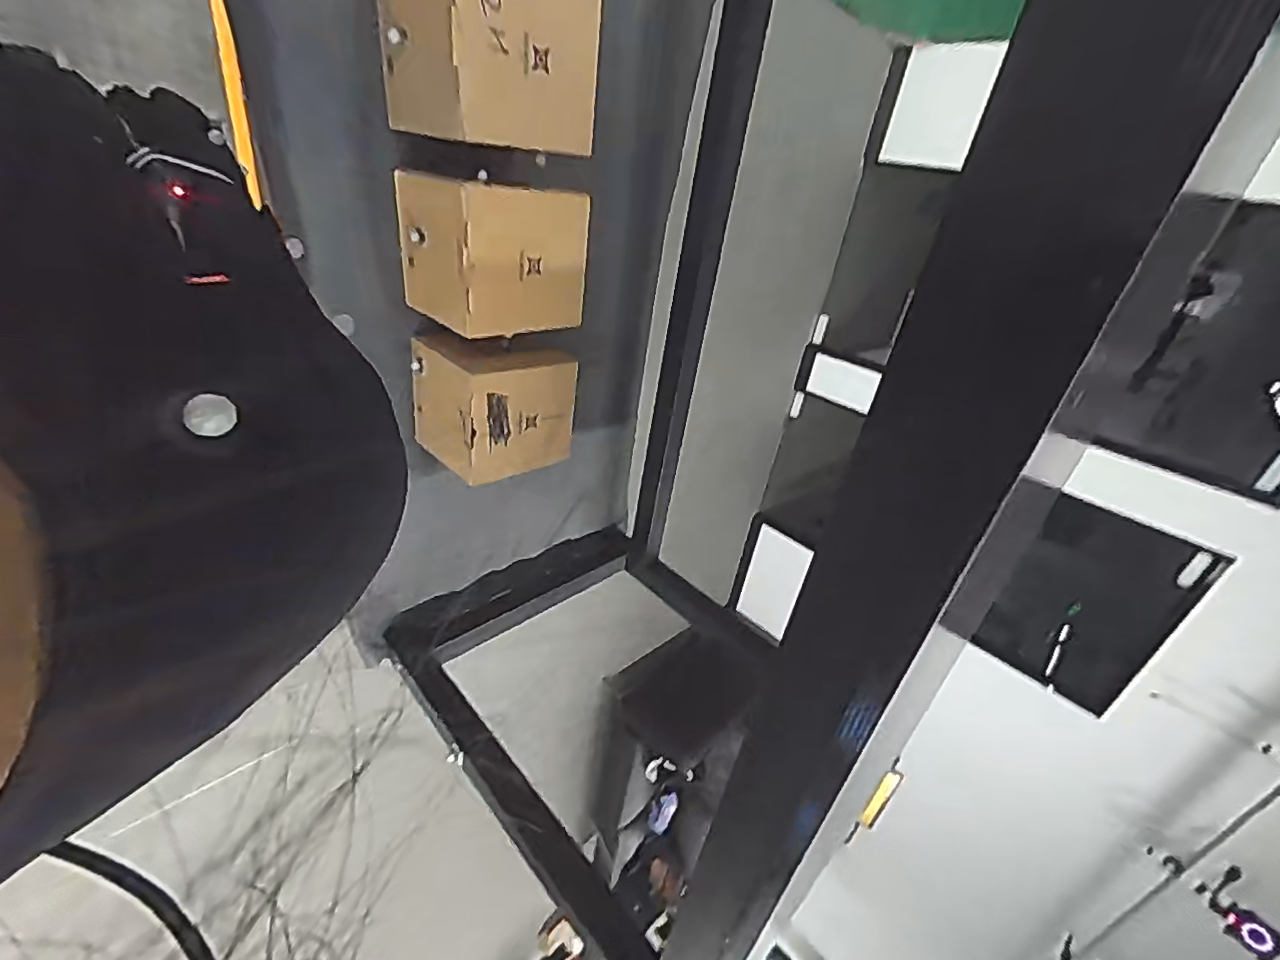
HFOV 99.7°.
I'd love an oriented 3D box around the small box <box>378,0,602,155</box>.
[{"bbox_3d":[-0.167,-0.475,0.604,0.179,0.176,0.168,-22,132,-40],"label":"small box"}]
